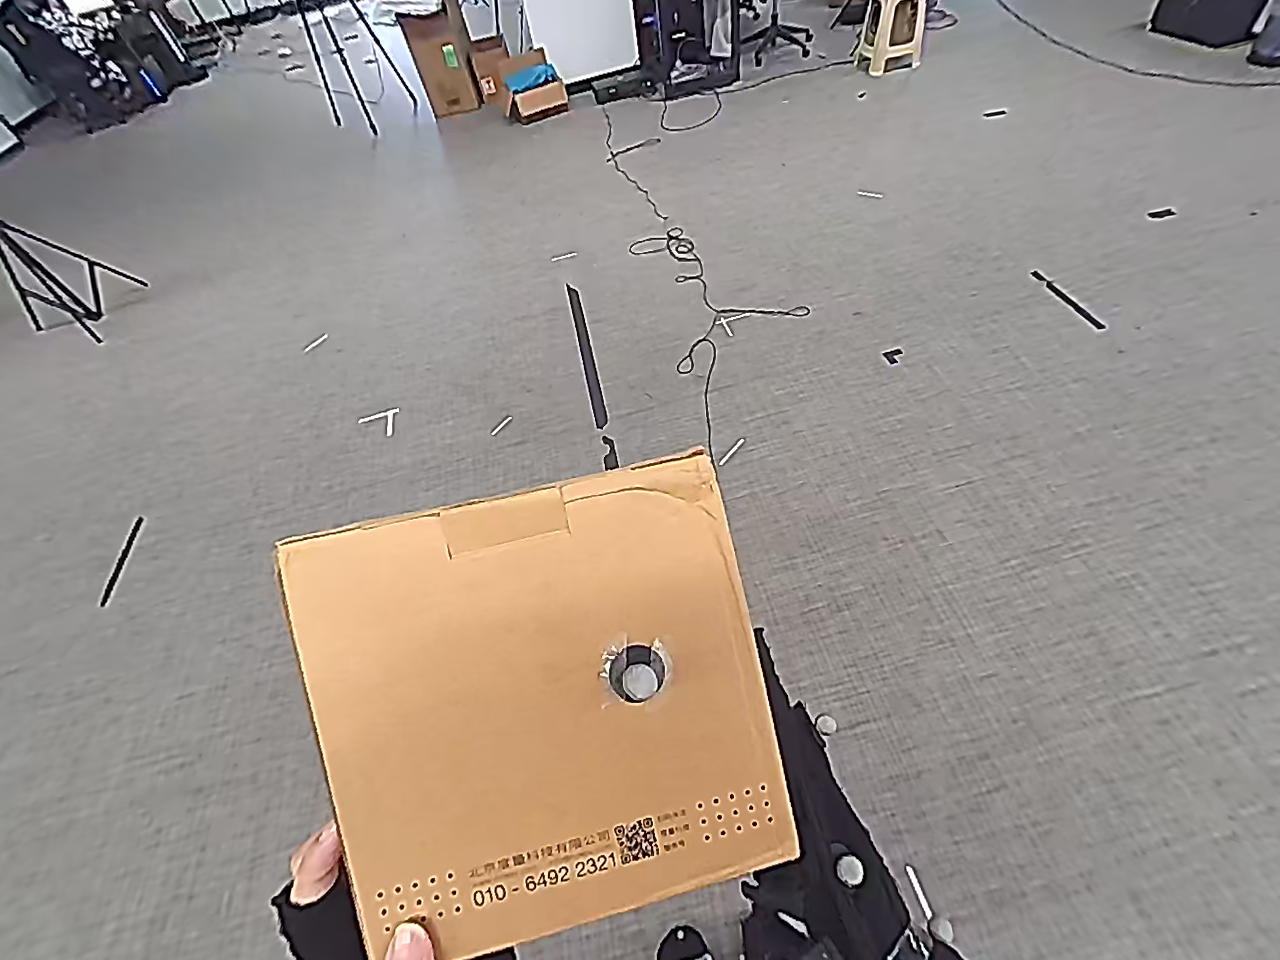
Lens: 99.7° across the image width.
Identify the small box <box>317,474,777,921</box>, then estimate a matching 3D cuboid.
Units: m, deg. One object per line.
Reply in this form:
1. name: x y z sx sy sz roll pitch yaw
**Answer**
1. small box: -0.039 0.098 0.304 0.168 0.179 0.176 -12 91 -5
